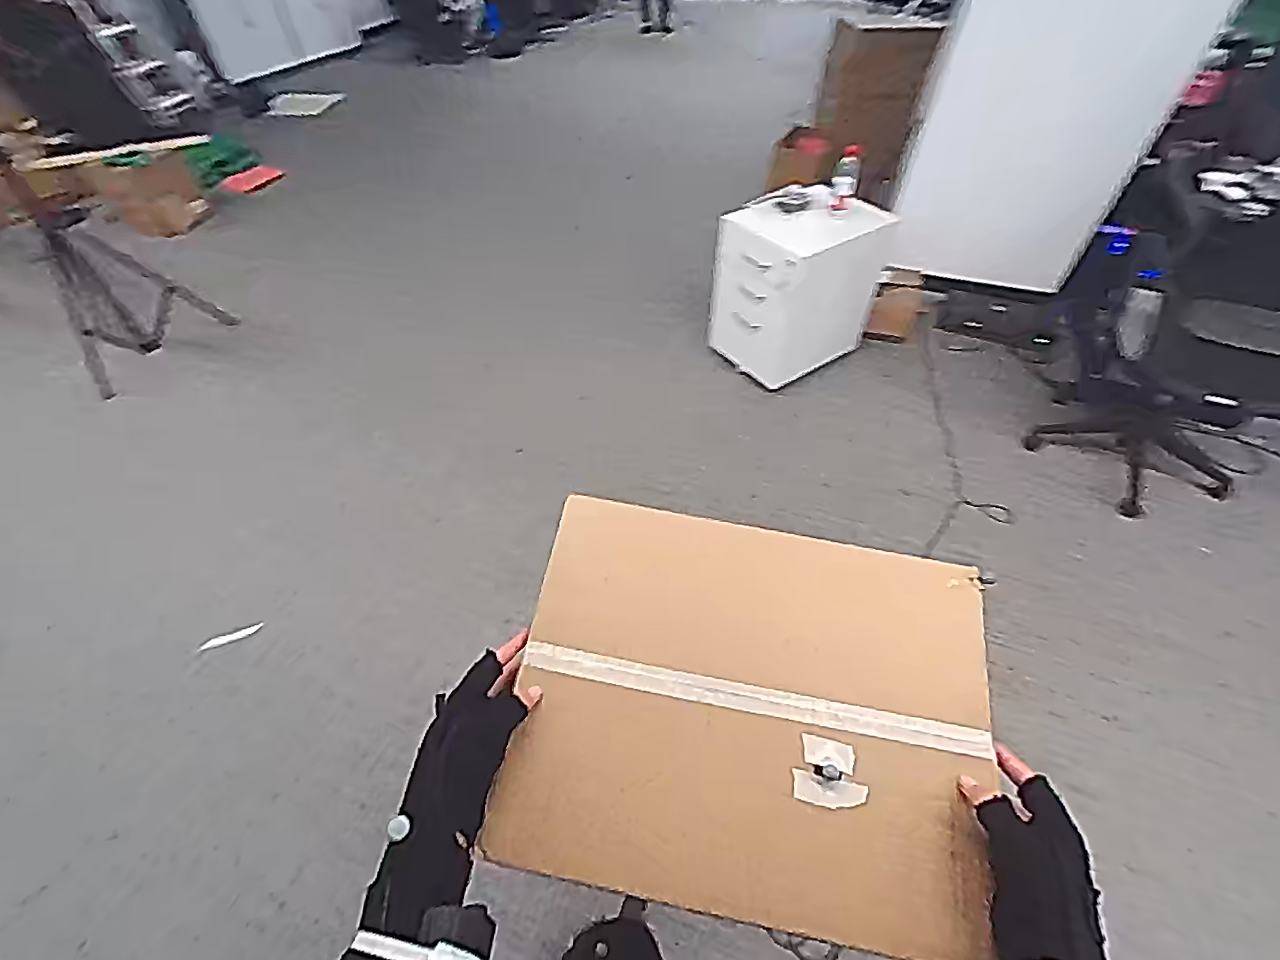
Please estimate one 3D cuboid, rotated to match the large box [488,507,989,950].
[{"bbox_3d":[0.092,0.255,0.617,0.408,0.320,0.320,10,66,4],"label":"large box"}]
